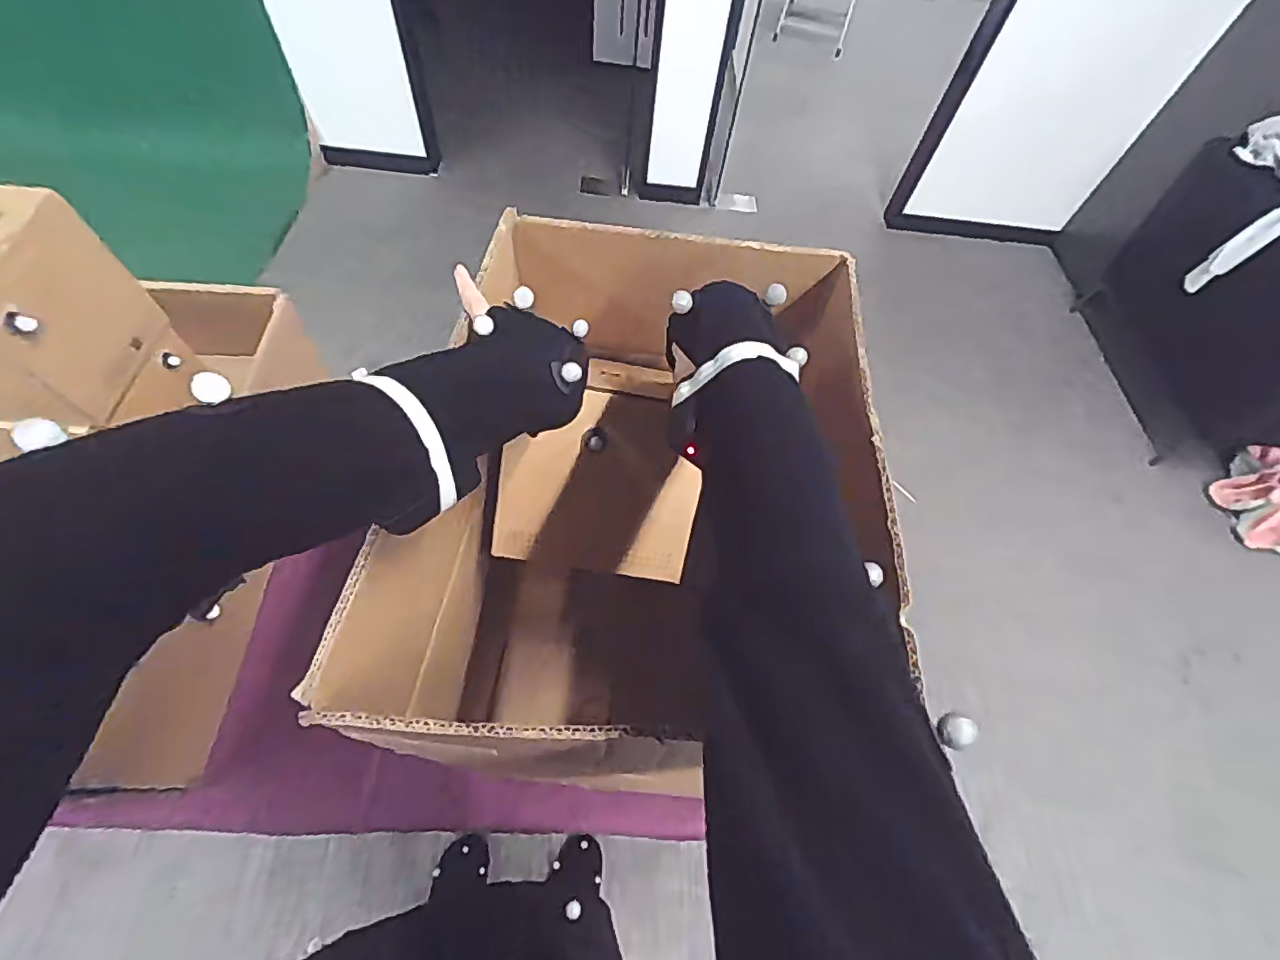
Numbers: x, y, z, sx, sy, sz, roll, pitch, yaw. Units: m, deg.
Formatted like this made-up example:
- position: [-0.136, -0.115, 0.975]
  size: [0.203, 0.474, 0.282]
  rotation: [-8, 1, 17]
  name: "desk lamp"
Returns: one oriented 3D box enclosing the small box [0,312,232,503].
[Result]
- position: [-0.675, -0.085, 0.691]
  size: [0.168, 0.176, 0.179]
  rotation: [4, 59, -3]
  name: "small box"
